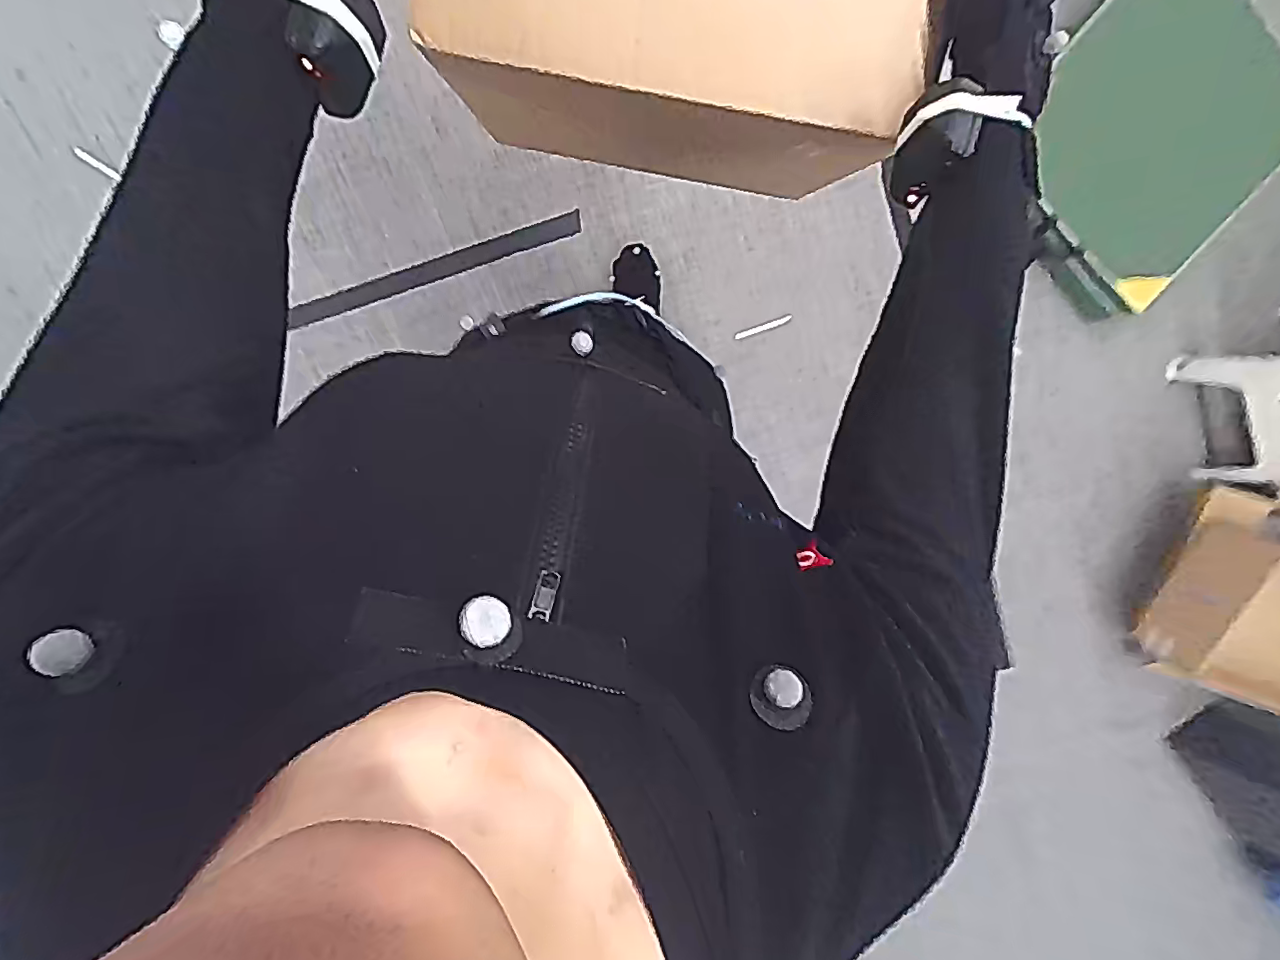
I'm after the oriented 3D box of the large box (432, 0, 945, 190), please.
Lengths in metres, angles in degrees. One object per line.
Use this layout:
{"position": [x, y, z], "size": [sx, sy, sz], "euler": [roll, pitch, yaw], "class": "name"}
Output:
{"position": [0.044, -0.504, 0.526], "size": [0.408, 0.320, 0.320], "euler": [7, 111, -6], "class": "large box"}
